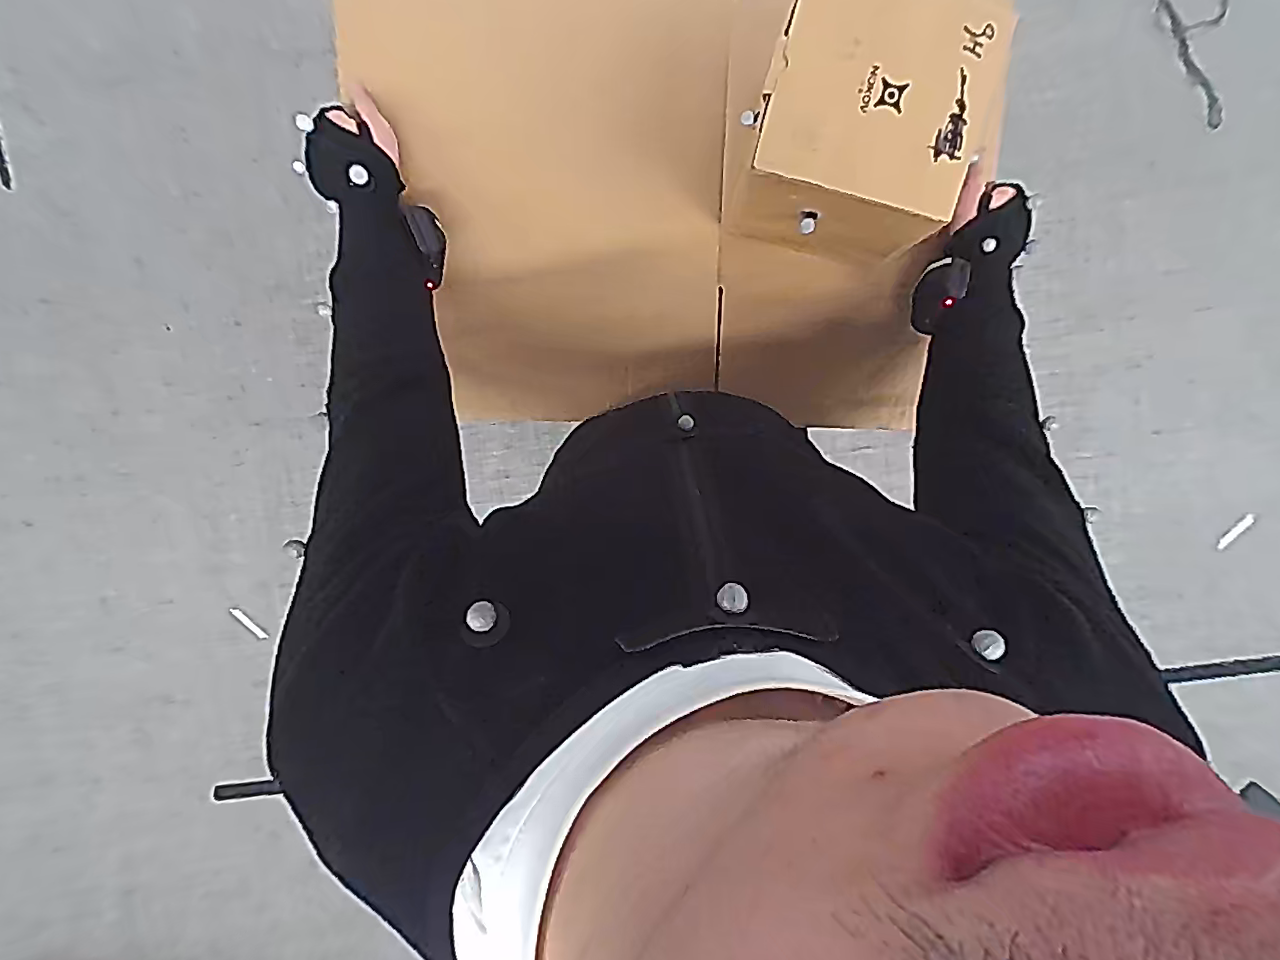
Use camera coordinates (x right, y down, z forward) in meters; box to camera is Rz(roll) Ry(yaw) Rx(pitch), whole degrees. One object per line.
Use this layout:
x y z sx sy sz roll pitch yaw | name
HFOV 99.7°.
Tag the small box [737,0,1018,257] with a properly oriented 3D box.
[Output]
0.202 -0.334 0.522 0.179 0.176 0.168 15 99 1 | small box
